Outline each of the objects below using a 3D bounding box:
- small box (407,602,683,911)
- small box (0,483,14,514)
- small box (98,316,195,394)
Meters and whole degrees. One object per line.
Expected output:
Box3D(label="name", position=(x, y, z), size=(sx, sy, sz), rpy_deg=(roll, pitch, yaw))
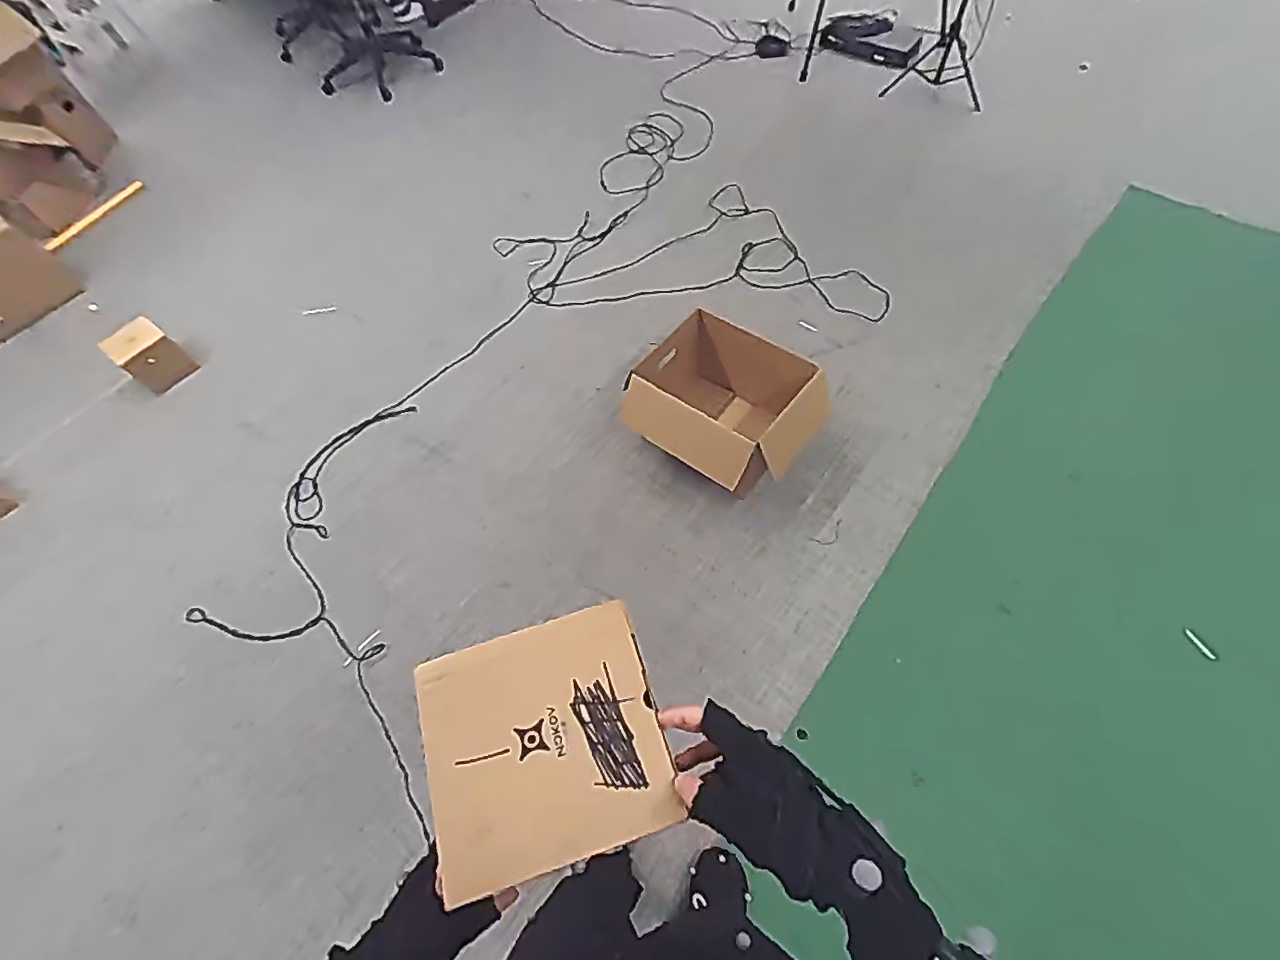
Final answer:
Box3D(label="small box", position=(-0.074, 0.225, 0.468), size=(0.179, 0.176, 0.168), rpy_deg=(-17, 64, -6))
Box3D(label="small box", position=(-2.156, 0.051, 1.692), size=(0.179, 0.176, 0.168), rpy_deg=(32, 68, 20))
Box3D(label="small box", position=(-1.756, -0.447, 1.941), size=(0.168, 0.176, 0.179), rpy_deg=(32, 68, 19))
